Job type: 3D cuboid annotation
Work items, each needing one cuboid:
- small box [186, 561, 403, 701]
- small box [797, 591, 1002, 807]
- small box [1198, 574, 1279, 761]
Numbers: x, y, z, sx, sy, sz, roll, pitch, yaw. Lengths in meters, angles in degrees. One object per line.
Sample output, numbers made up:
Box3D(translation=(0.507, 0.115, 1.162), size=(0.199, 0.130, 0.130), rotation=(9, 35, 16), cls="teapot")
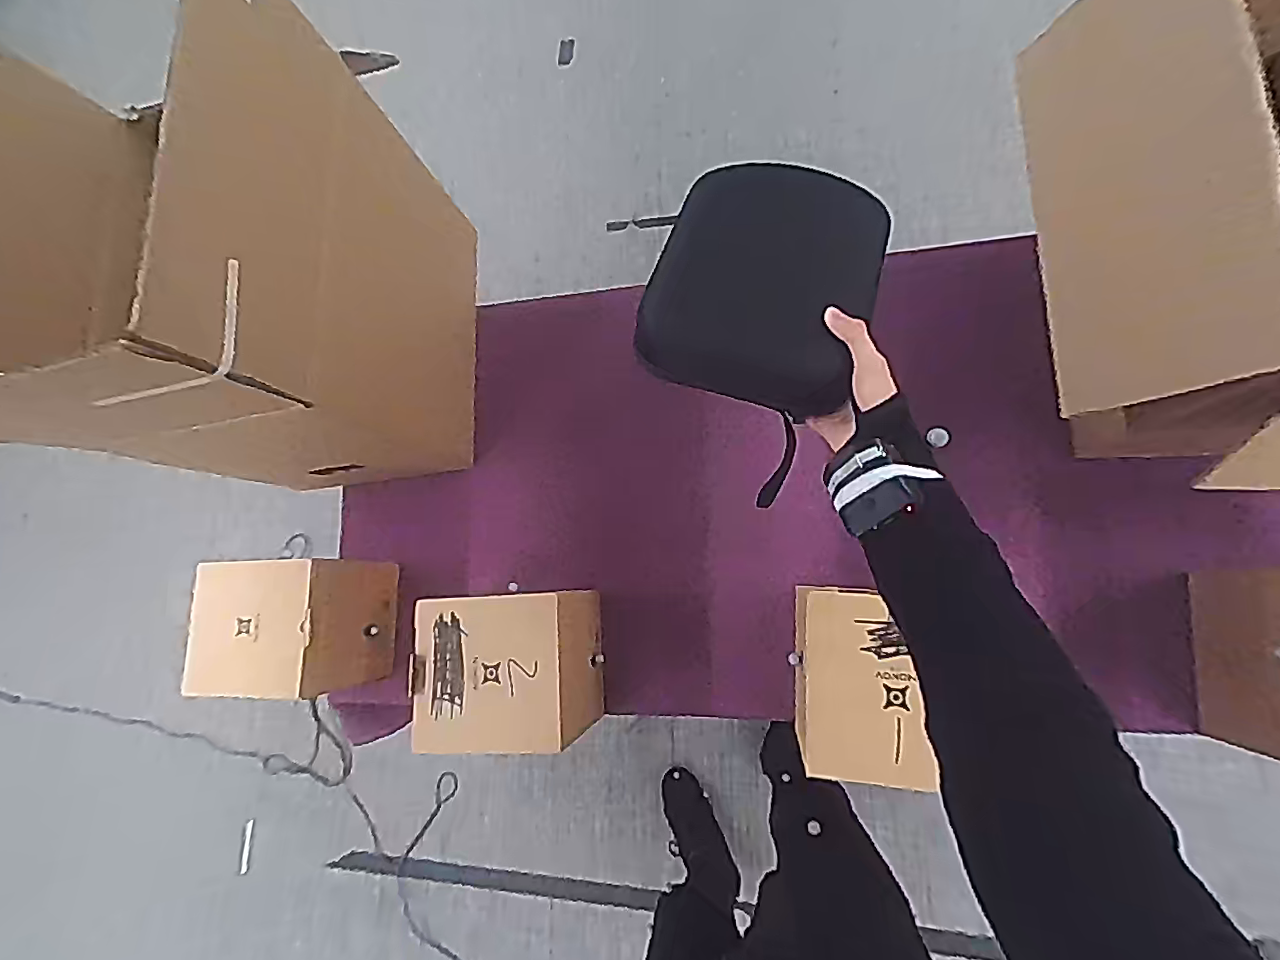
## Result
Box3D(translation=(-0.460, 0.199, 0.743), size=(0.179, 0.176, 0.168), rotation=(-3, 79, 11), cls="small box")
Box3D(translation=(0.258, 0.212, 0.578), size=(0.168, 0.176, 0.179), rotation=(1, 80, 13), cls="small box")
Box3D(translation=(0.663, 0.179, 0.489), size=(0.168, 0.176, 0.179), rotation=(4, 80, 15), cls="small box")
